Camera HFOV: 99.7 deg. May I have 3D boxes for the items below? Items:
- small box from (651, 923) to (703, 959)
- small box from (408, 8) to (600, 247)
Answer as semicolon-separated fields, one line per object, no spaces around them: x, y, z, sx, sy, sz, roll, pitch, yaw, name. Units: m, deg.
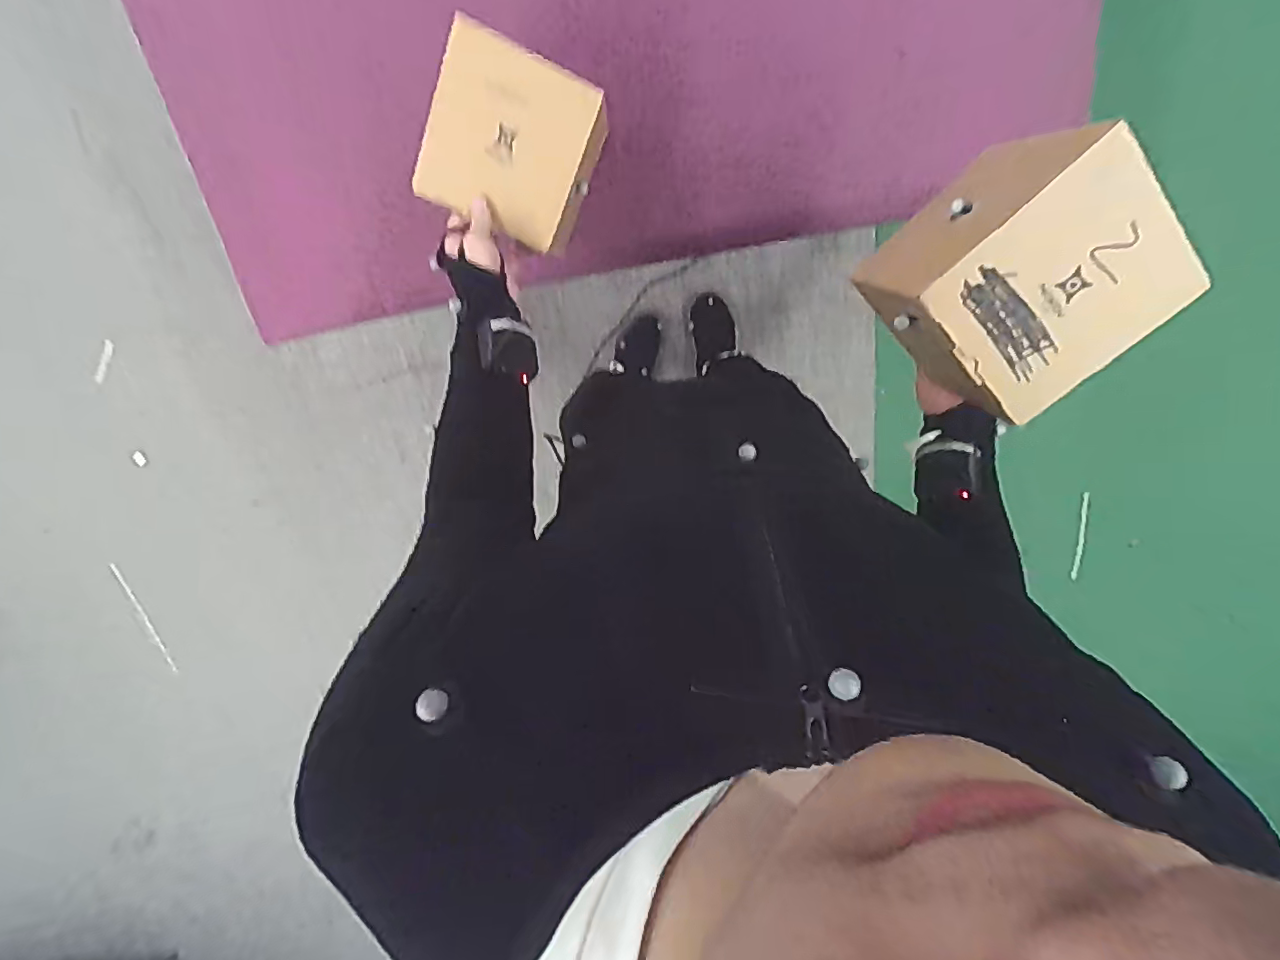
0.127;1.606;1.777;0.168;0.176;0.179;-7;109;2;small box
-0.154;-0.406;0.664;0.168;0.176;0.179;23;110;-11;small box
